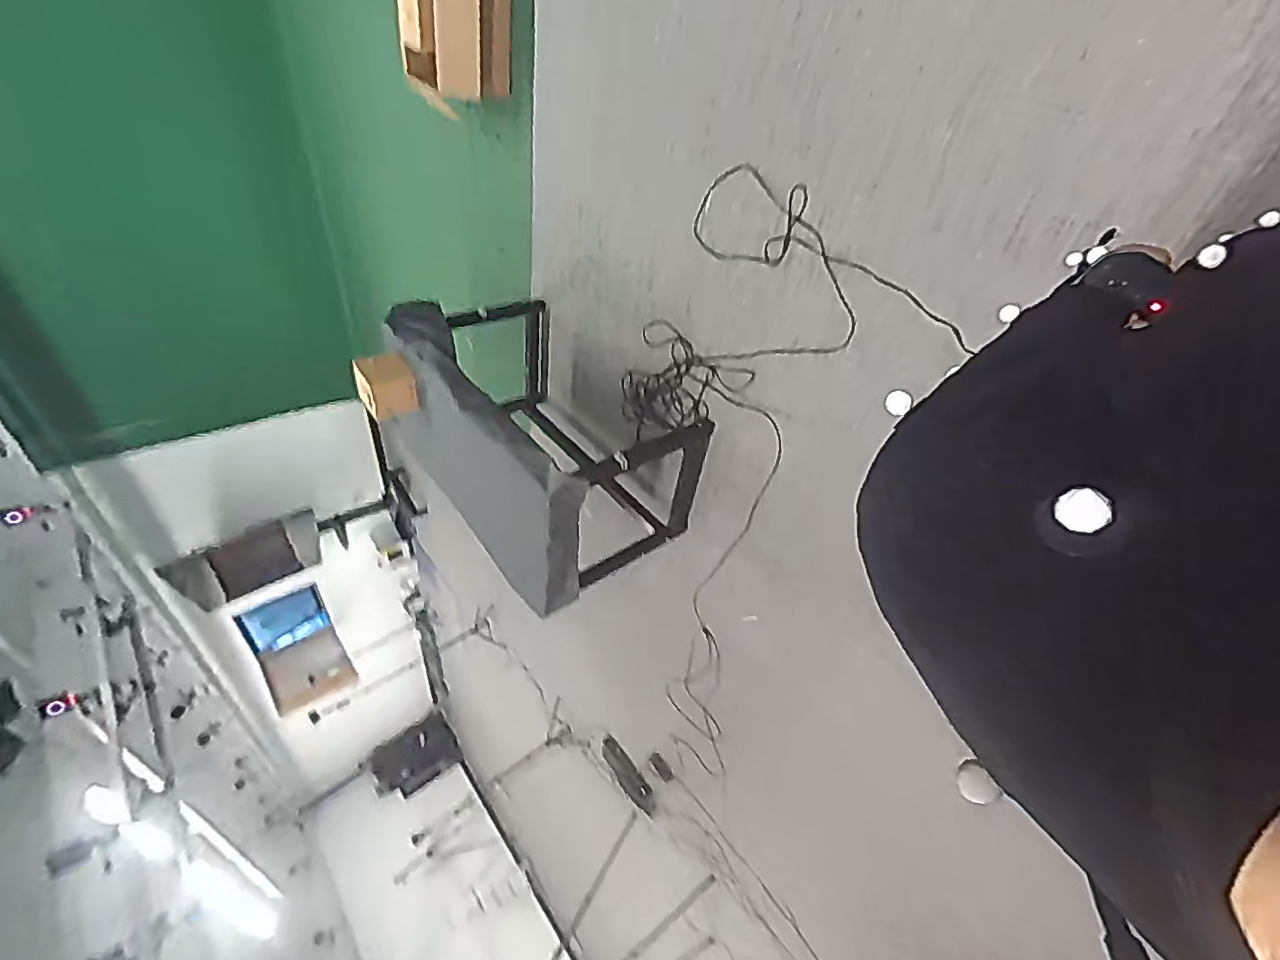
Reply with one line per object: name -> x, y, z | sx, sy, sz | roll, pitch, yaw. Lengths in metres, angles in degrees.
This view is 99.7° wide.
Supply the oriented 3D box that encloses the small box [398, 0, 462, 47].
small box -> -0.764, -1.701, 1.965 | 0.179, 0.176, 0.168 | 45, 140, 28
